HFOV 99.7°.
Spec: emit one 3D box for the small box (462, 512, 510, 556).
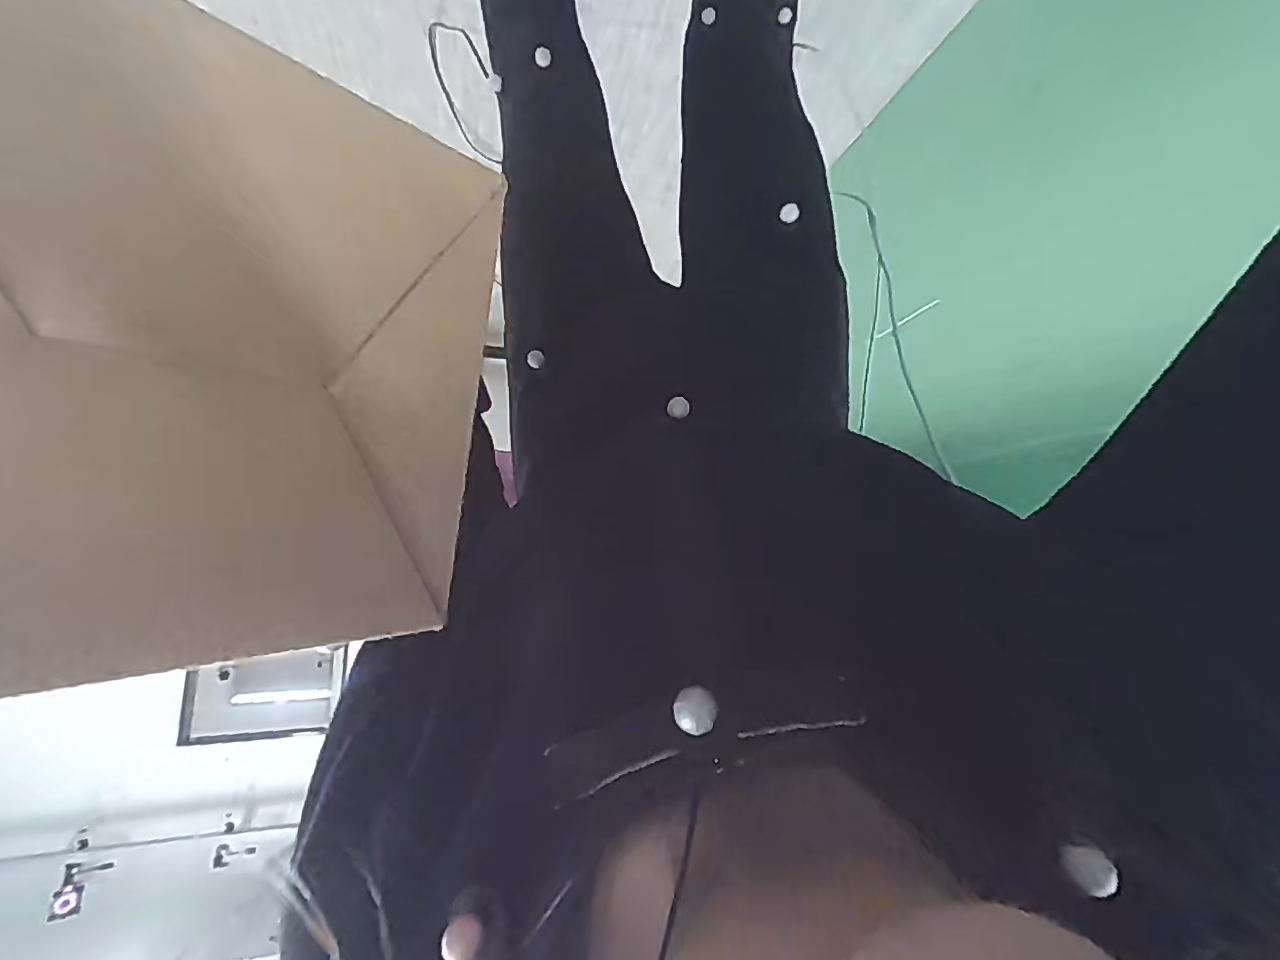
[{"bbox_3d":[-0.630,0.222,2.218,0.179,0.176,0.168,3,169,-14],"label":"small box"}]
